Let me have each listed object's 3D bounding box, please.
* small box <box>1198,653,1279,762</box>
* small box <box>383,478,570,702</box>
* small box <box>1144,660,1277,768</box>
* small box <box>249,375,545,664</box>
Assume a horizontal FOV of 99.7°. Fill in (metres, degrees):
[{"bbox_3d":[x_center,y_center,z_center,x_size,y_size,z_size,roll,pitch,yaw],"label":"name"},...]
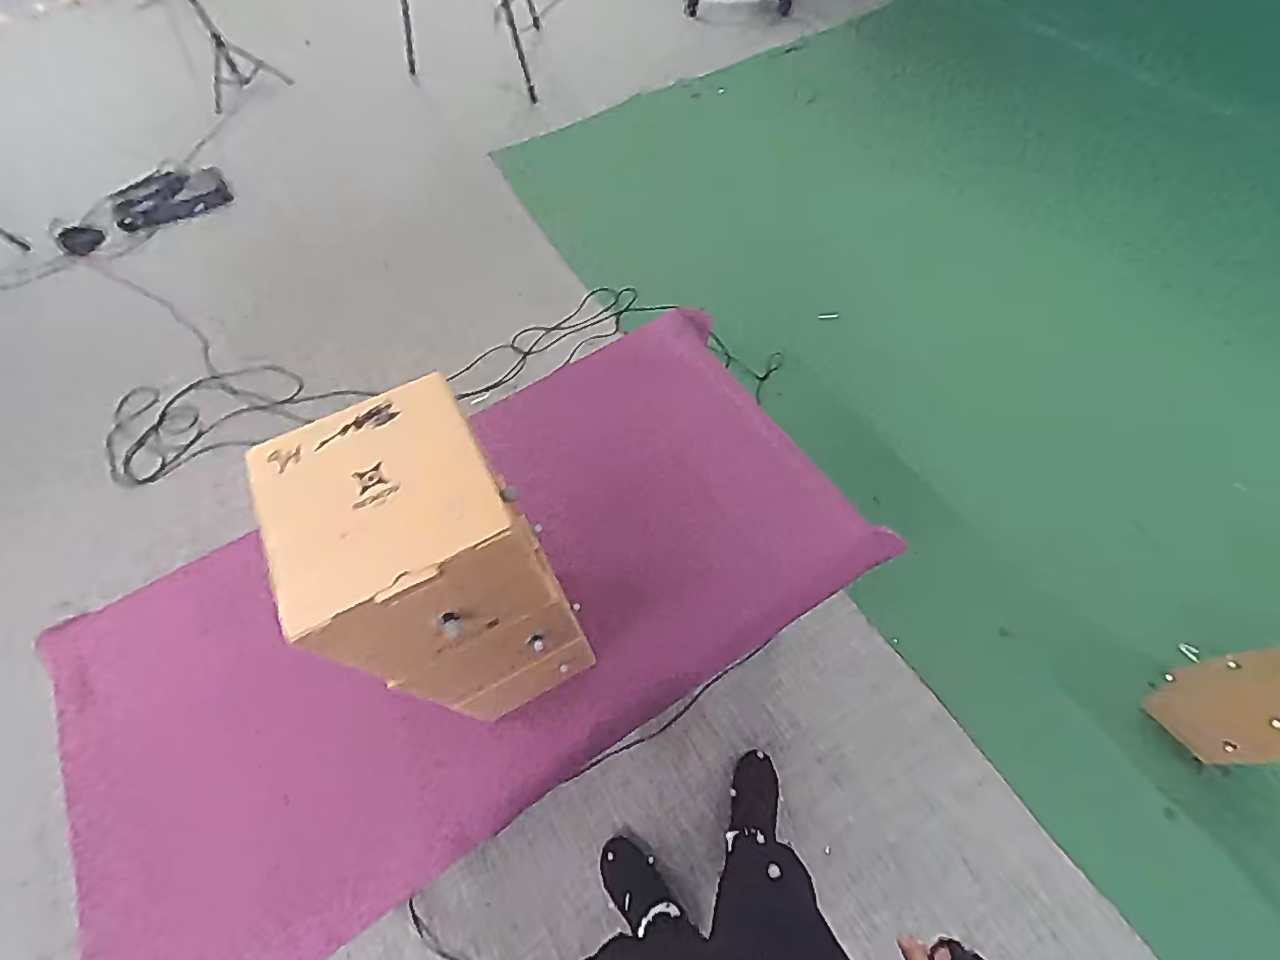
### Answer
[{"bbox_3d":[1.403,0.492,1.171,0.168,0.176,0.179,-32,64,-14],"label":"small box"},{"bbox_3d":[-0.191,0.132,0.623,0.179,0.176,0.168,-26,62,-11],"label":"small box"},{"bbox_3d":[1.410,0.569,1.313,0.168,0.176,0.179,-33,65,-15],"label":"small box"},{"bbox_3d":[-0.201,0.047,0.484,0.168,0.176,0.179,-26,63,-12],"label":"small box"}]
